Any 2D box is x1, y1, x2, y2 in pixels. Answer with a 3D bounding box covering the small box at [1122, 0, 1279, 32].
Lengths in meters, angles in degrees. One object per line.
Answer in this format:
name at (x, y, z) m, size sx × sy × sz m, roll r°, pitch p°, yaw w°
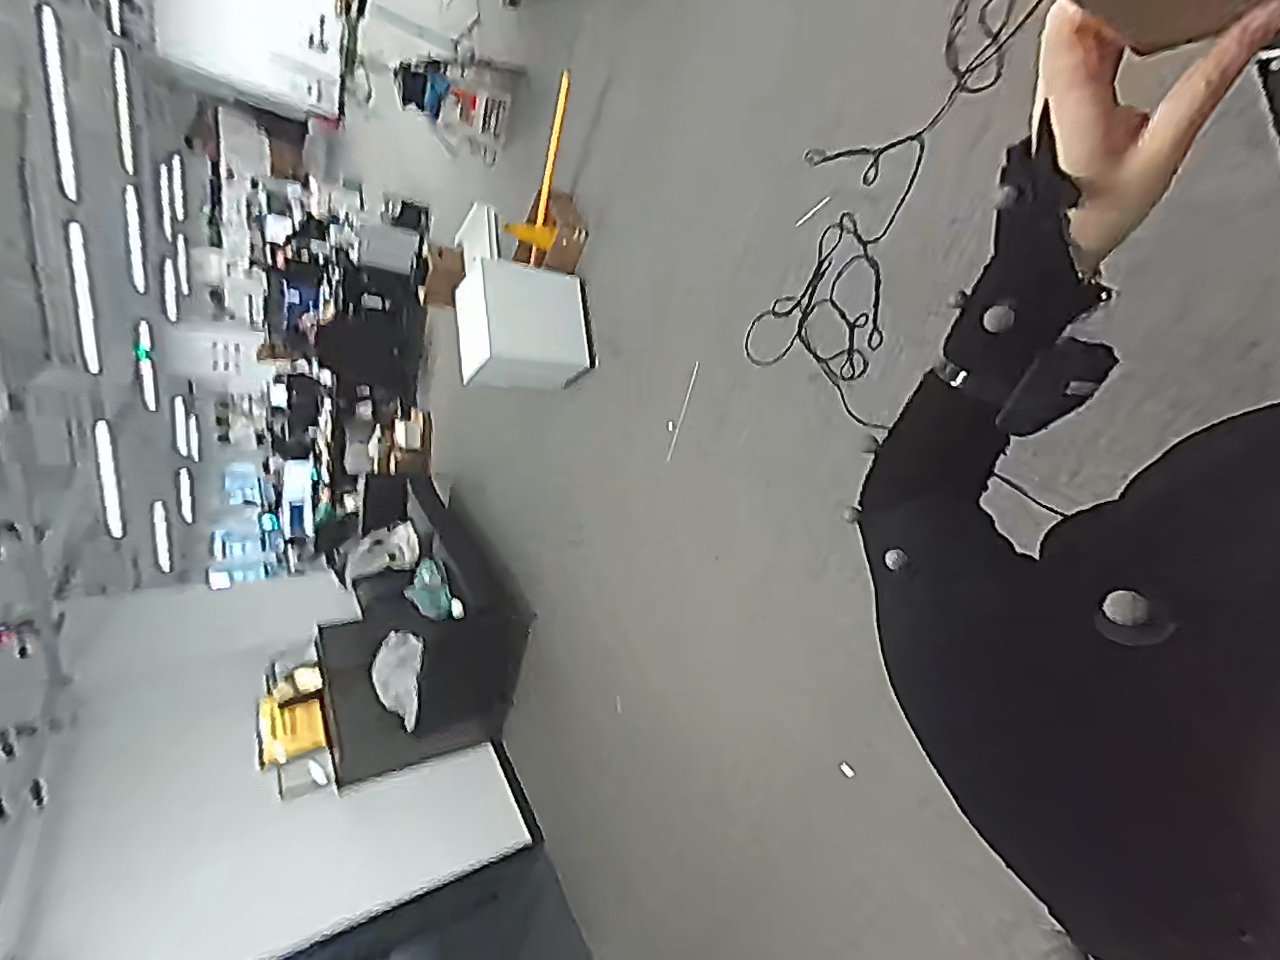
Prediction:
small box at (0.226, -0.243, 0.123) m, size 0.179 × 0.176 × 0.168 m, roll 15°, pitch 119°, yaw 48°
